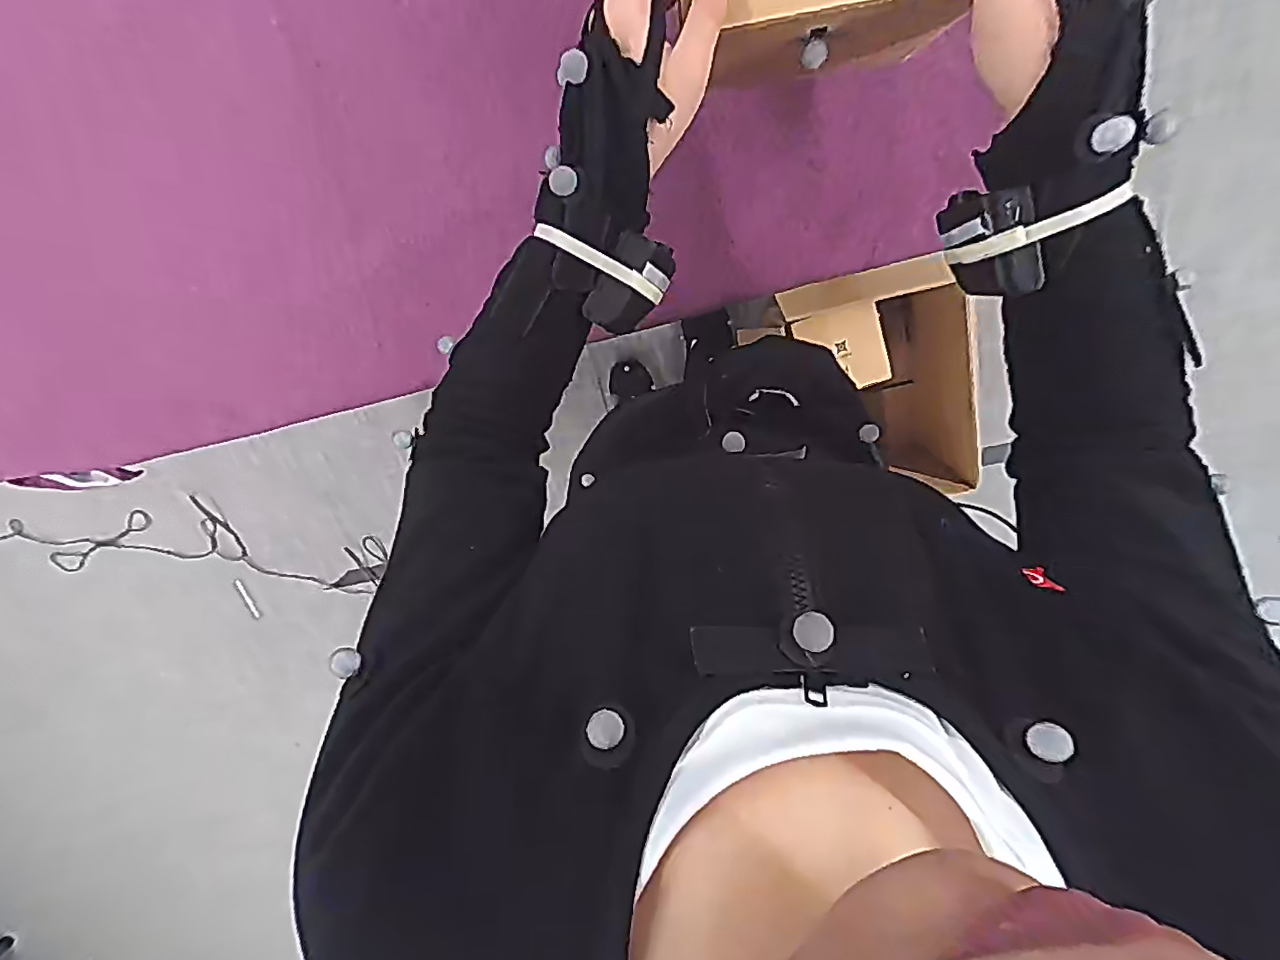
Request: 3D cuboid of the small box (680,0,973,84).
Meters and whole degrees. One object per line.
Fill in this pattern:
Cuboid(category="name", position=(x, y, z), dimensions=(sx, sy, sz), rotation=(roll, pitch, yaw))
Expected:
Cuboid(category="small box", position=(0.108, -0.362, 0.323), dimensions=(0.179, 0.176, 0.168), rotation=(-4, 116, 9))
